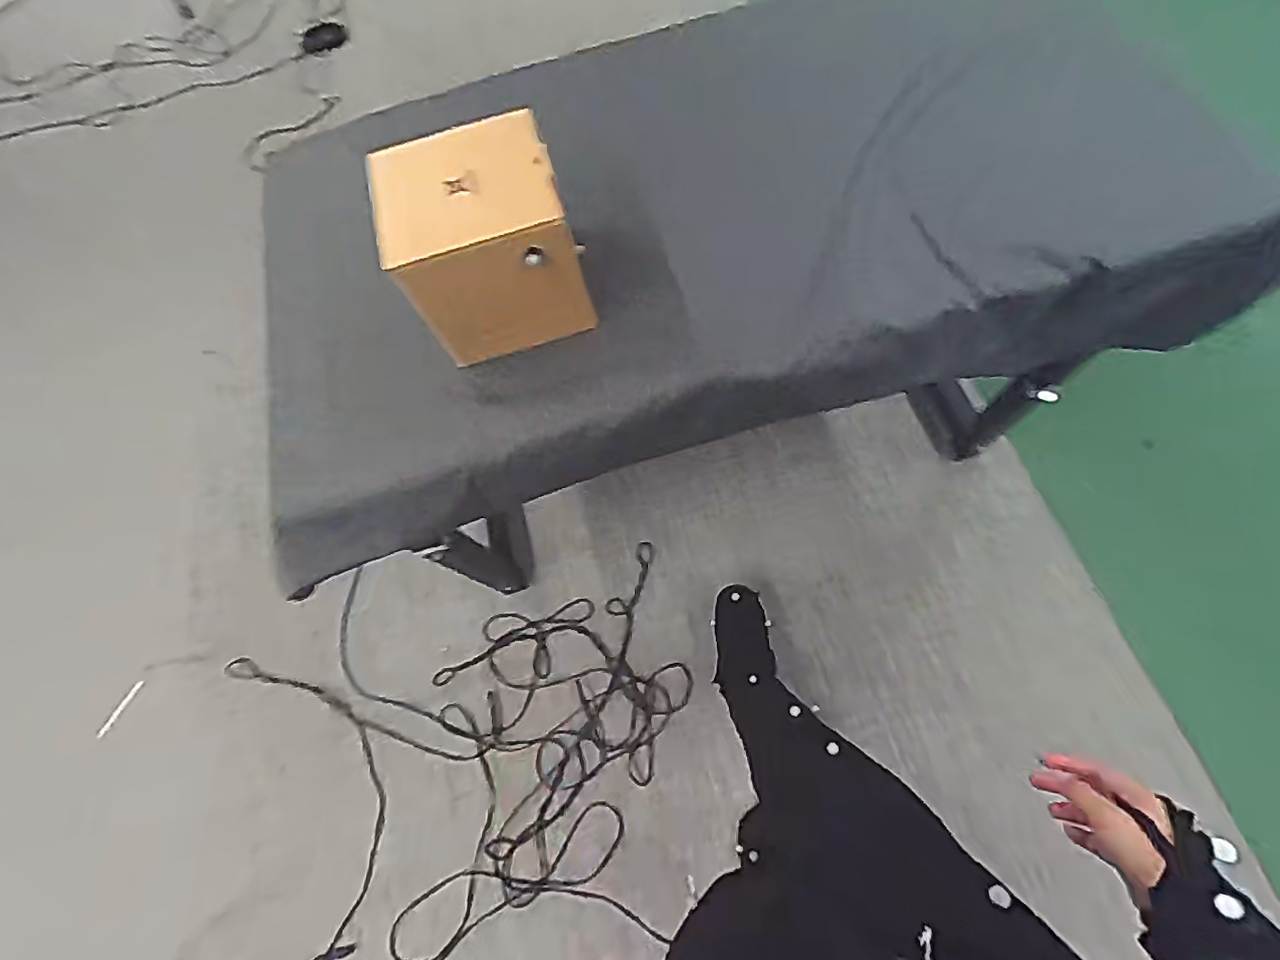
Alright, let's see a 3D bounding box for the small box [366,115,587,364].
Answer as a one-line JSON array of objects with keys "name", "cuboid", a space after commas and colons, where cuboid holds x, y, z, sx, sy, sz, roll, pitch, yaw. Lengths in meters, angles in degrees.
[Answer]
[{"name": "small box", "cuboid": [-0.175, -0.258, 0.611, 0.179, 0.176, 0.168, -18, 67, -1]}]
